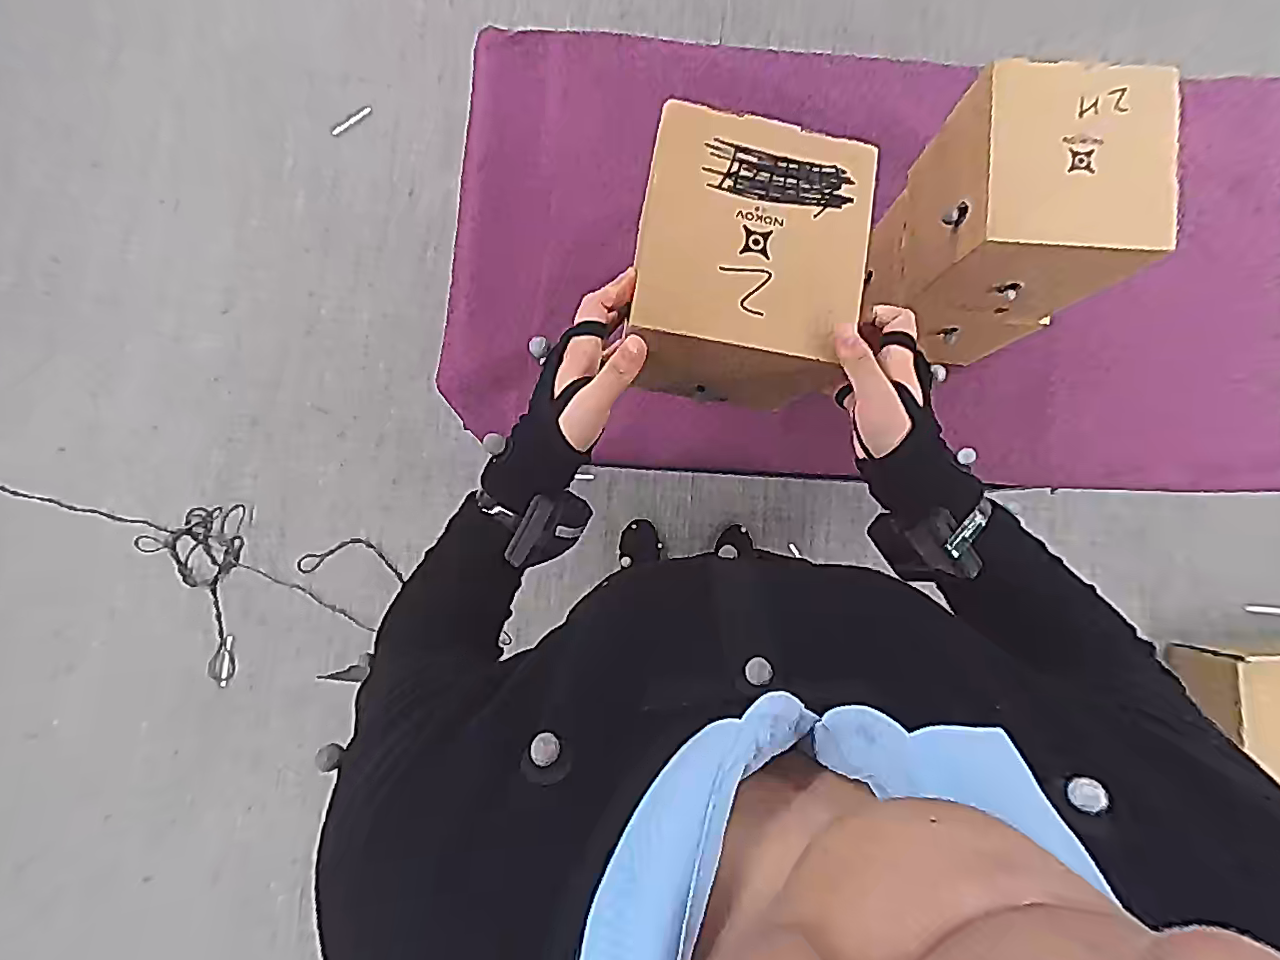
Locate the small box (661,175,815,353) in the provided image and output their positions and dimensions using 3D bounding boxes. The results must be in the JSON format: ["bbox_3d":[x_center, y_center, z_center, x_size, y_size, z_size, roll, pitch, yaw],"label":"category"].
[{"bbox_3d":[0.121,-0.278,0.730,0.179,0.176,0.168,4,86,1],"label":"small box"}]

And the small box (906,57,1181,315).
[{"bbox_3d":[0.397,-0.286,0.562,0.168,0.176,0.179,5,86,2],"label":"small box"}]

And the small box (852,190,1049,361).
[{"bbox_3d":[0.407,-0.265,0.726,0.179,0.176,0.168,5,86,2],"label":"small box"}]
